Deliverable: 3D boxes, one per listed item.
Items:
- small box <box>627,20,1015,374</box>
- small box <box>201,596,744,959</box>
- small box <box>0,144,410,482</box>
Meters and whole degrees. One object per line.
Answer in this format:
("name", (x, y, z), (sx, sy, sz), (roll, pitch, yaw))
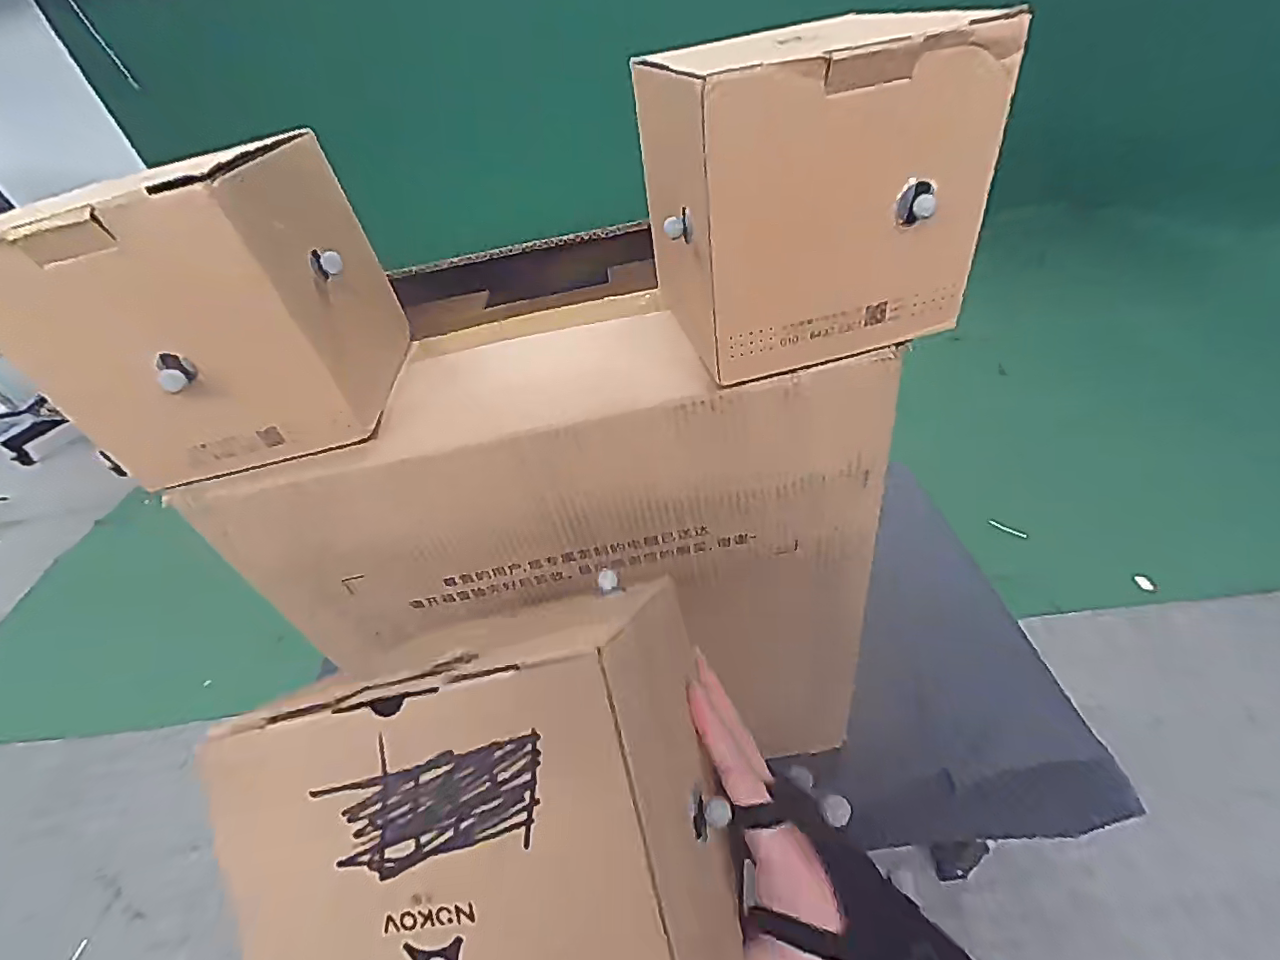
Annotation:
("small box", (0.098, -0.186, 0.368), (0.168, 0.176, 0.179), (-14, 39, -4))
("small box", (-0.051, 0.163, 0.261), (0.168, 0.179, 0.176), (-16, -4, 11))
("small box", (-0.292, -0.116, 0.394), (0.168, 0.176, 0.179), (-14, 41, 1))
